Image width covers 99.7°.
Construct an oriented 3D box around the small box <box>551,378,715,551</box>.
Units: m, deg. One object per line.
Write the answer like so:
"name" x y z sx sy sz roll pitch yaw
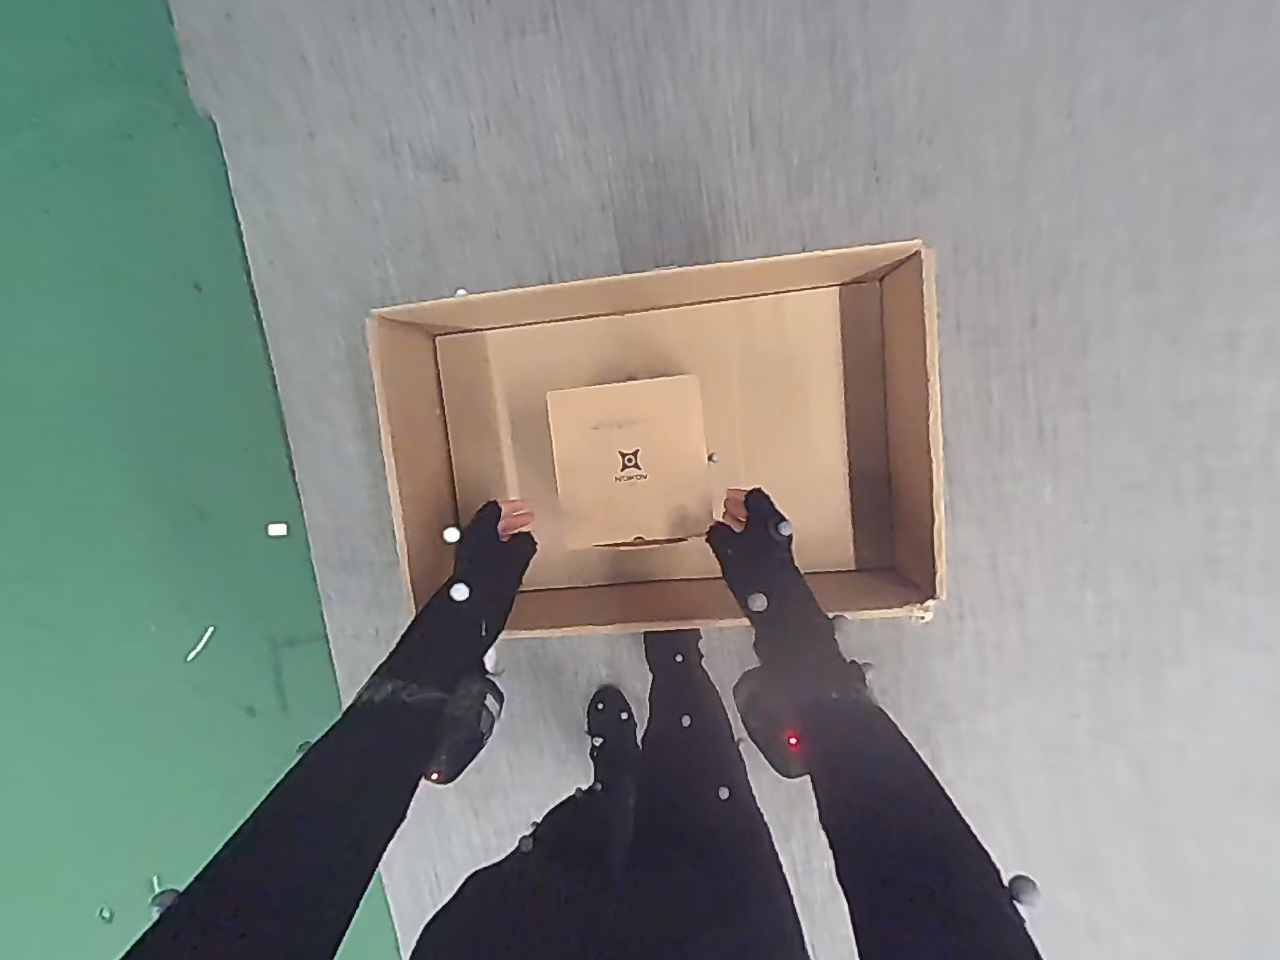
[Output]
"small box" 0.001 -0.022 0.659 0.168 0.176 0.179 -6 94 6
